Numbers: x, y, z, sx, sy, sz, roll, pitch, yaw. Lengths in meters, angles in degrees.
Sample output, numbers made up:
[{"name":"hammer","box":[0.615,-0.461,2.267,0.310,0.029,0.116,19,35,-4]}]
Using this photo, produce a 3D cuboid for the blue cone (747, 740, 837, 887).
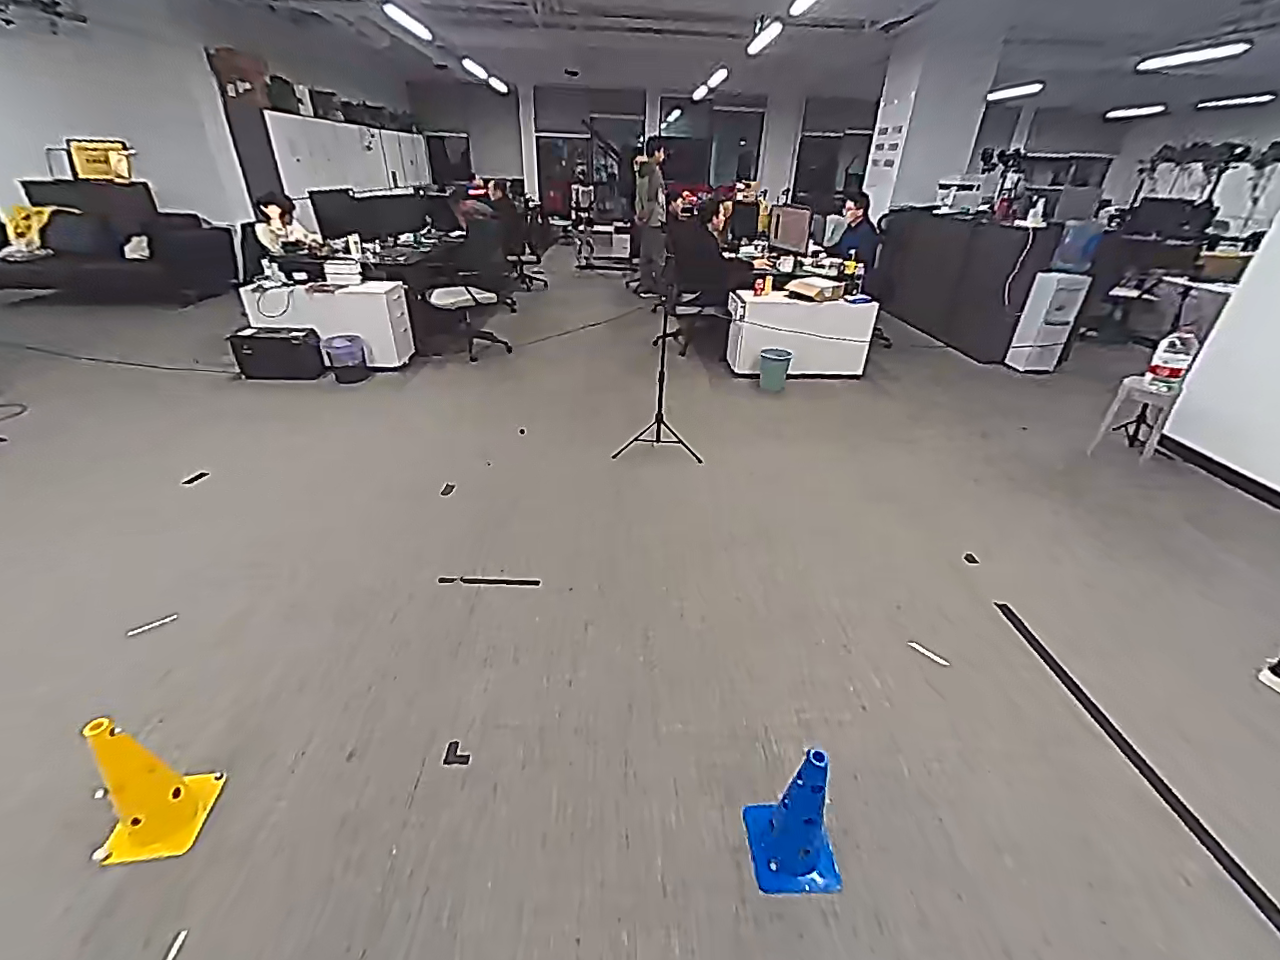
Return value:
[{"name":"blue cone","box":[0.371,0.739,1.233,0.193,0.380,0.192,1,29,-1]}]
